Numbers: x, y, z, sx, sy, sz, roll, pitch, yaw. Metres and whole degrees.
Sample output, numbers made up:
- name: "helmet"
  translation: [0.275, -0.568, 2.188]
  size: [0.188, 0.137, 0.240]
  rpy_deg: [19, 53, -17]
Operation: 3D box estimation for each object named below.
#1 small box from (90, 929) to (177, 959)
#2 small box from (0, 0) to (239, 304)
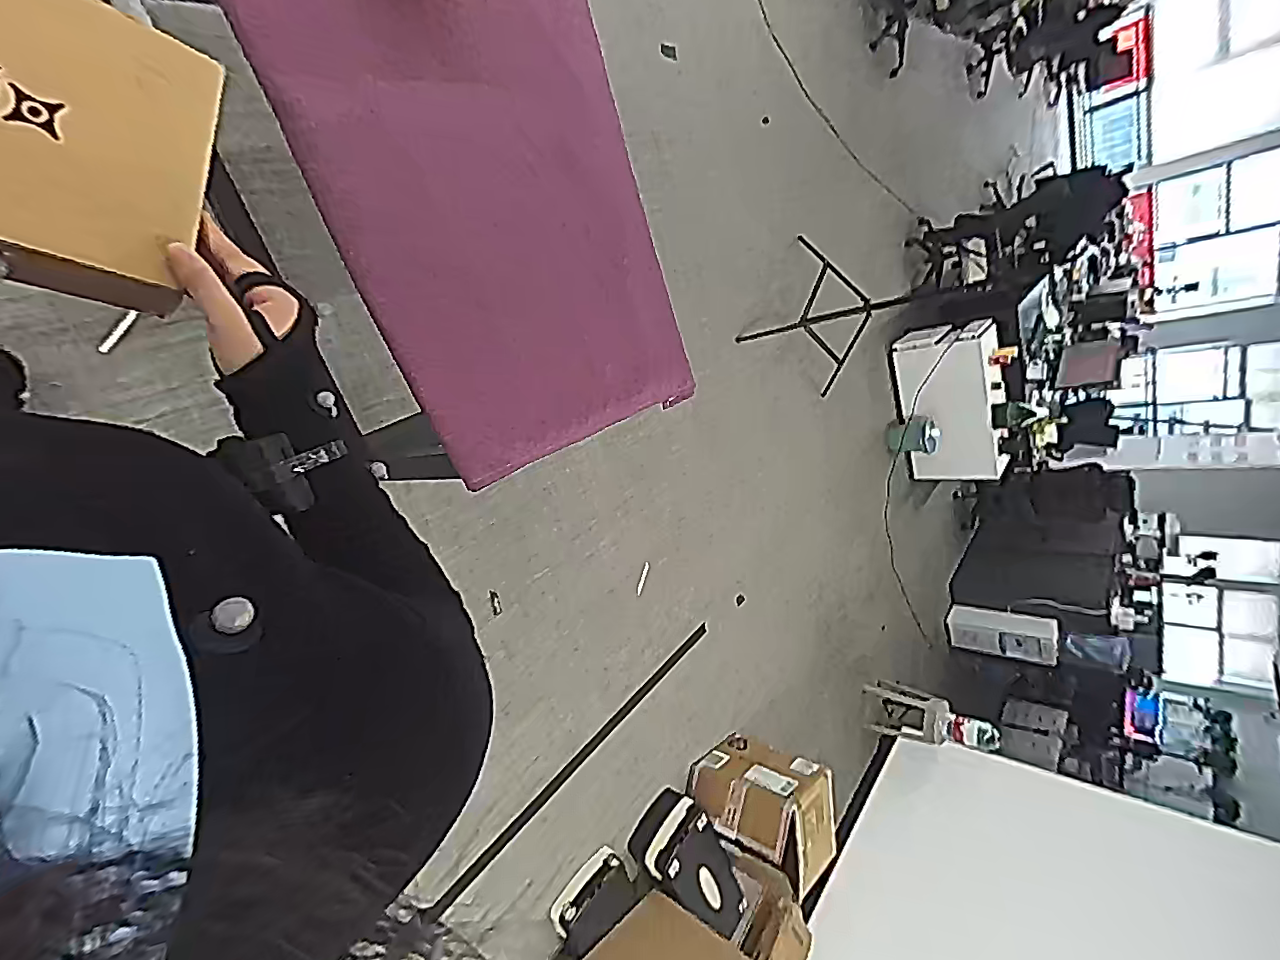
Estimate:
- name: "small box"
  translation: [-0.986, 0.999, 1.011]
  size: [0.168, 0.176, 0.179]
  rpy_deg: [-37, 116, -38]
- name: "small box"
  translation: [-0.418, -0.237, 0.387]
  size: [0.179, 0.176, 0.168]
  rpy_deg: [10, 89, -43]
